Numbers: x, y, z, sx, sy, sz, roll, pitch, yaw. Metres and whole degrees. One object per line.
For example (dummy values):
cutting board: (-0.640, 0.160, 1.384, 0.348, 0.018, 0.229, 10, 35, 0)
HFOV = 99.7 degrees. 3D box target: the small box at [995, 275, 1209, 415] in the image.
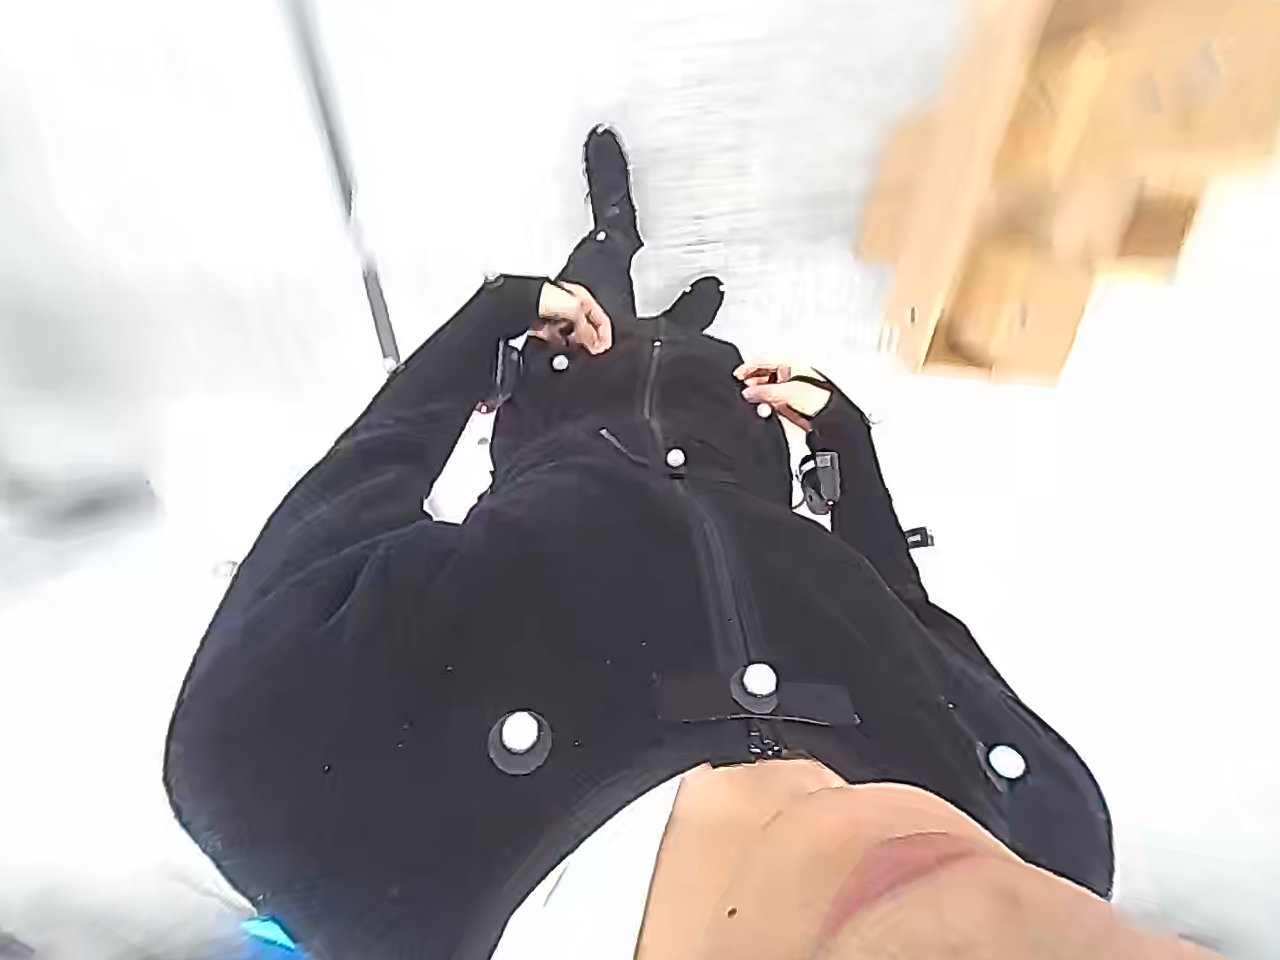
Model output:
small box: (0.714, -0.220, 0.866, 0.168, 0.176, 0.179, 4, 117, -2)
